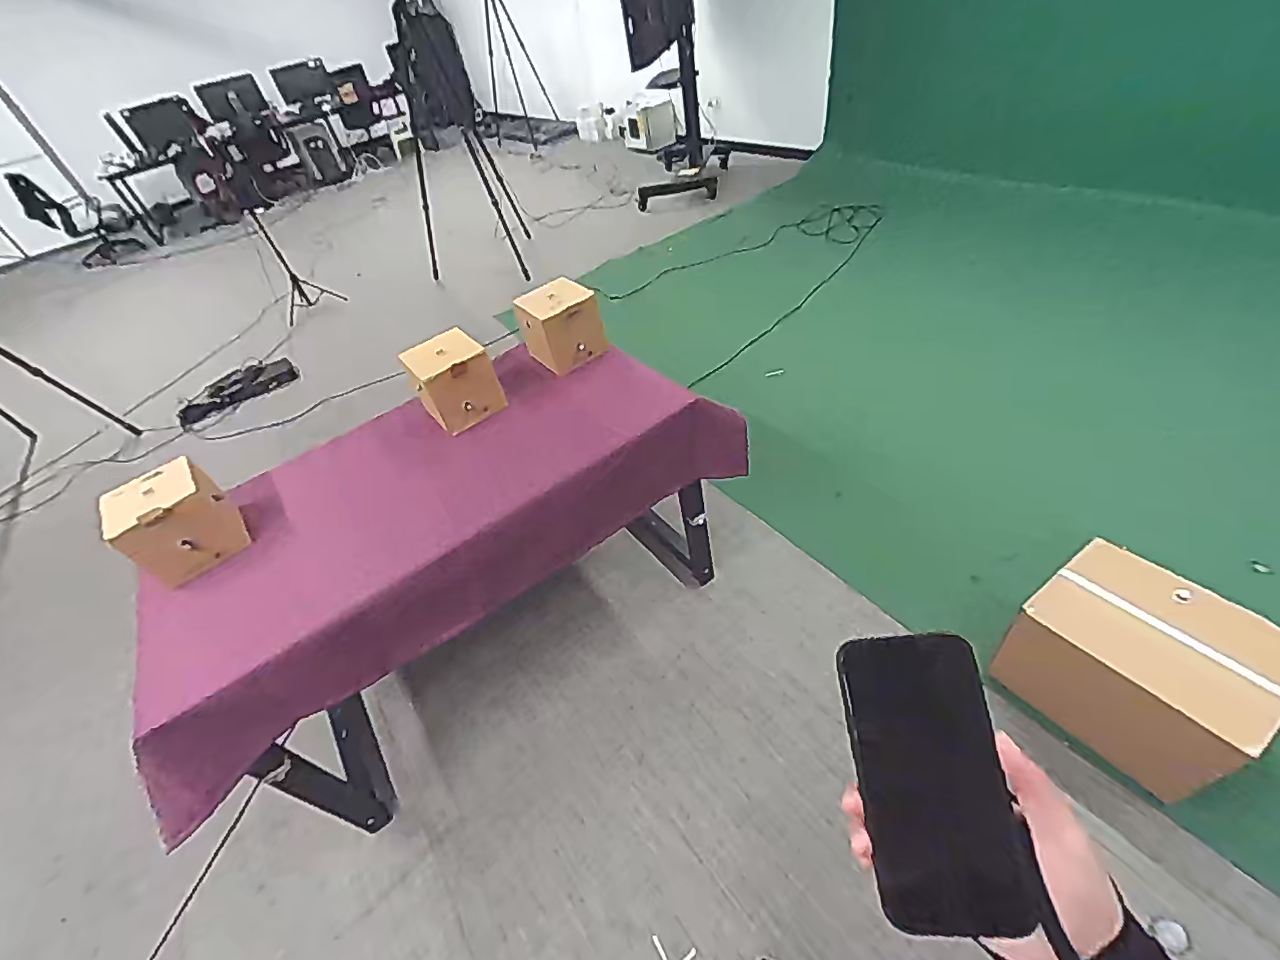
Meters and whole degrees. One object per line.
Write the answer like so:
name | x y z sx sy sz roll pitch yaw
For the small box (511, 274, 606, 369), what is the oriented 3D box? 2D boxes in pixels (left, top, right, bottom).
small box | -0.217 -0.423 1.454 0.168 0.176 0.179 -34 48 -18

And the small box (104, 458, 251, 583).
small box | -0.964 0.091 1.138 0.168 0.176 0.179 -37 50 -23

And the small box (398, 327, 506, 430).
small box | -0.467 -0.253 1.355 0.168 0.176 0.179 -35 49 -20
